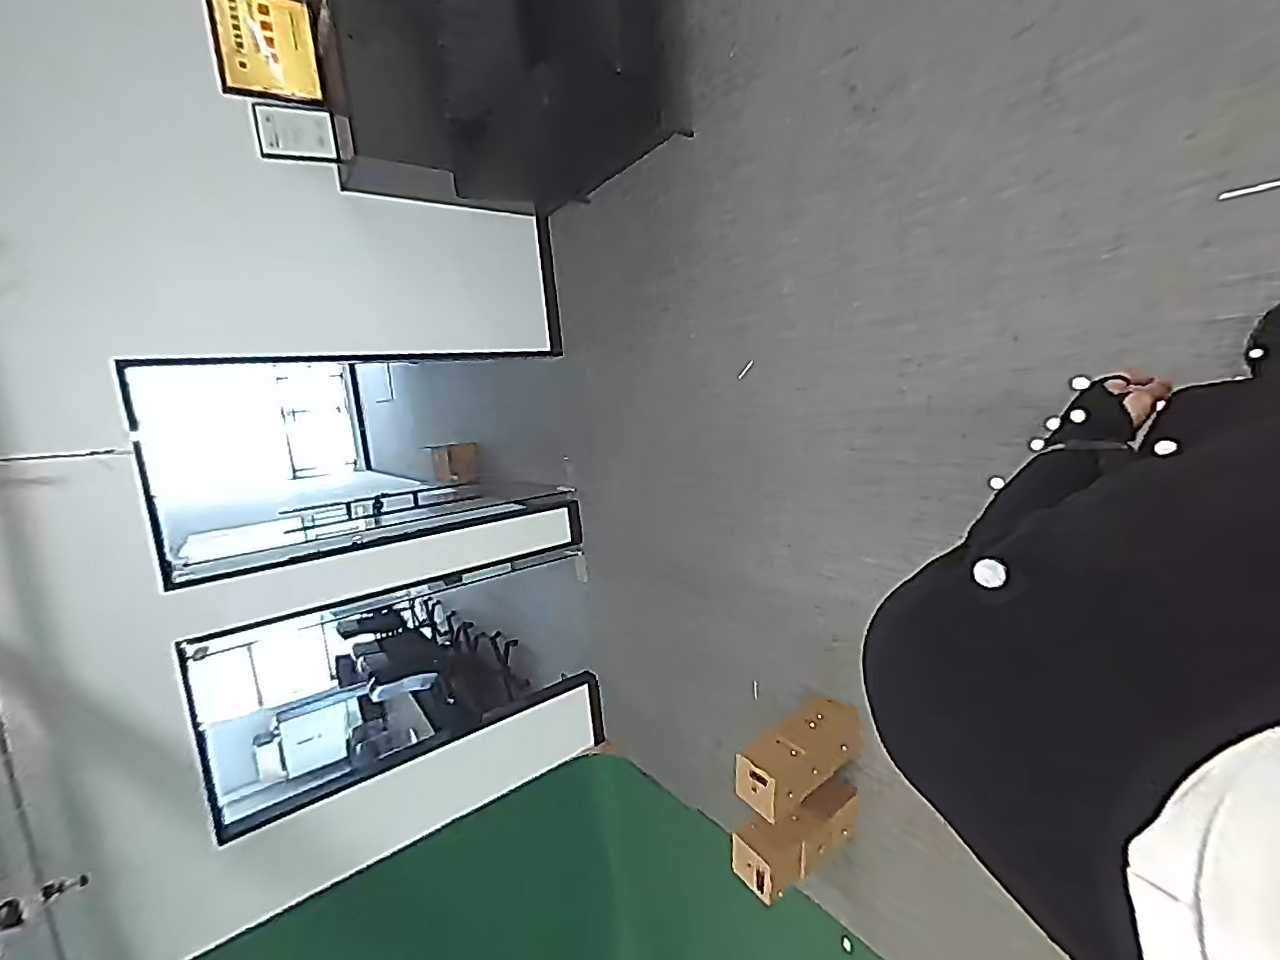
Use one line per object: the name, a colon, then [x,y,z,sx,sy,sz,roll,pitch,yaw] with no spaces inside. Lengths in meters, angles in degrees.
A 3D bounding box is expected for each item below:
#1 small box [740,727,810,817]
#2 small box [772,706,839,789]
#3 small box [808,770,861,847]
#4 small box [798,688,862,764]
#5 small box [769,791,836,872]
small box: [0.460,0.981,1.838,0.168,0.176,0.179,17,113,52]
small box: [0.591,0.948,1.931,0.168,0.176,0.179,13,109,52]
small box: [0.736,1.259,2.097,0.179,0.176,0.168,14,110,53]
small box: [0.715,0.922,2.034,0.168,0.176,0.179,10,108,53]
small box: [0.602,1.280,2.001,0.179,0.176,0.168,16,111,52]
